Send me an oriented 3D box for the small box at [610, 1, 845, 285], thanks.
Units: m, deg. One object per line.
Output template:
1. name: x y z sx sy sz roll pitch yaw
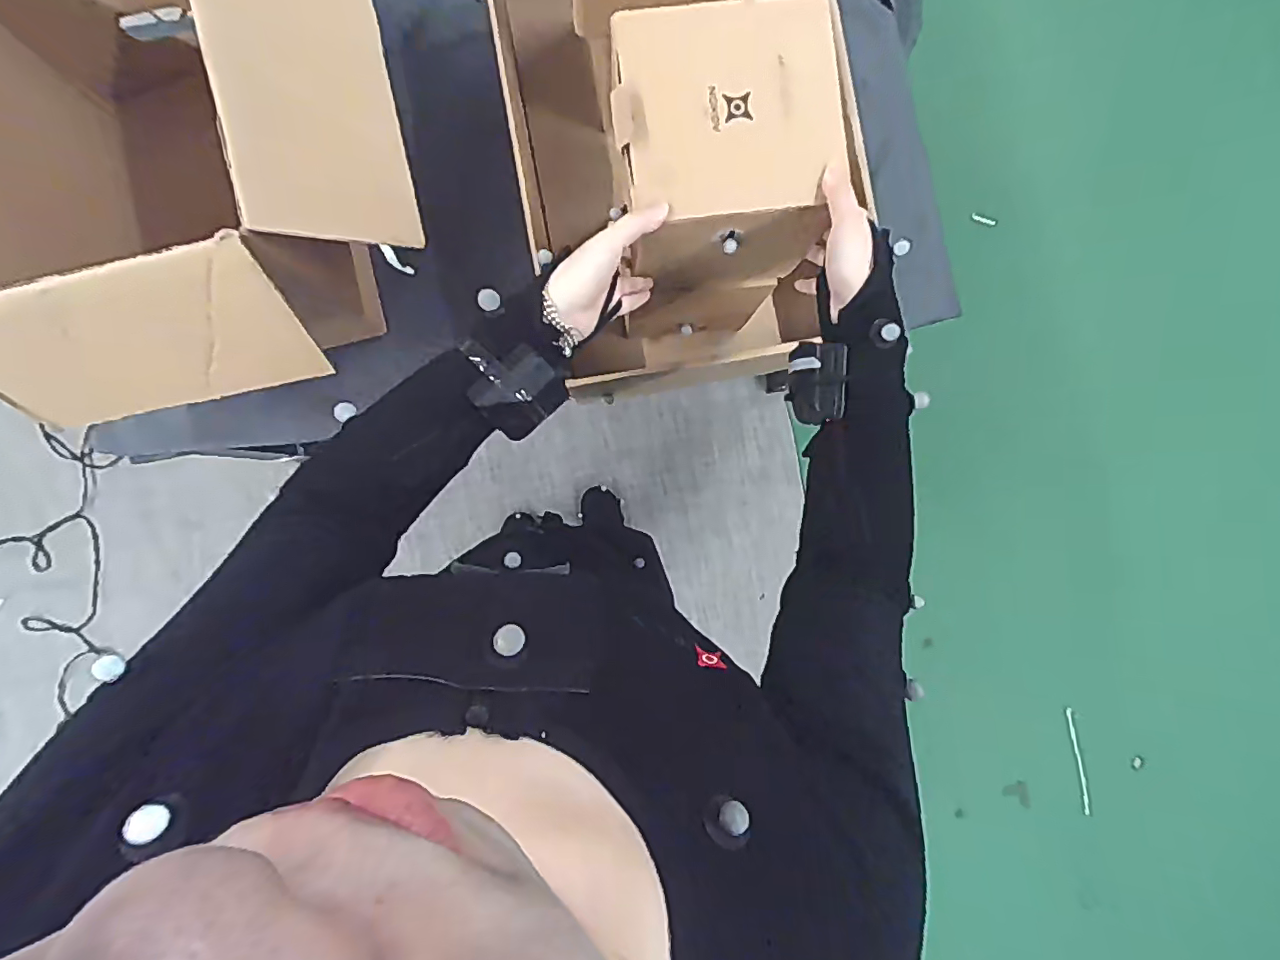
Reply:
1. small box: 0.068 -0.297 0.513 0.179 0.176 0.168 -8 93 -4
